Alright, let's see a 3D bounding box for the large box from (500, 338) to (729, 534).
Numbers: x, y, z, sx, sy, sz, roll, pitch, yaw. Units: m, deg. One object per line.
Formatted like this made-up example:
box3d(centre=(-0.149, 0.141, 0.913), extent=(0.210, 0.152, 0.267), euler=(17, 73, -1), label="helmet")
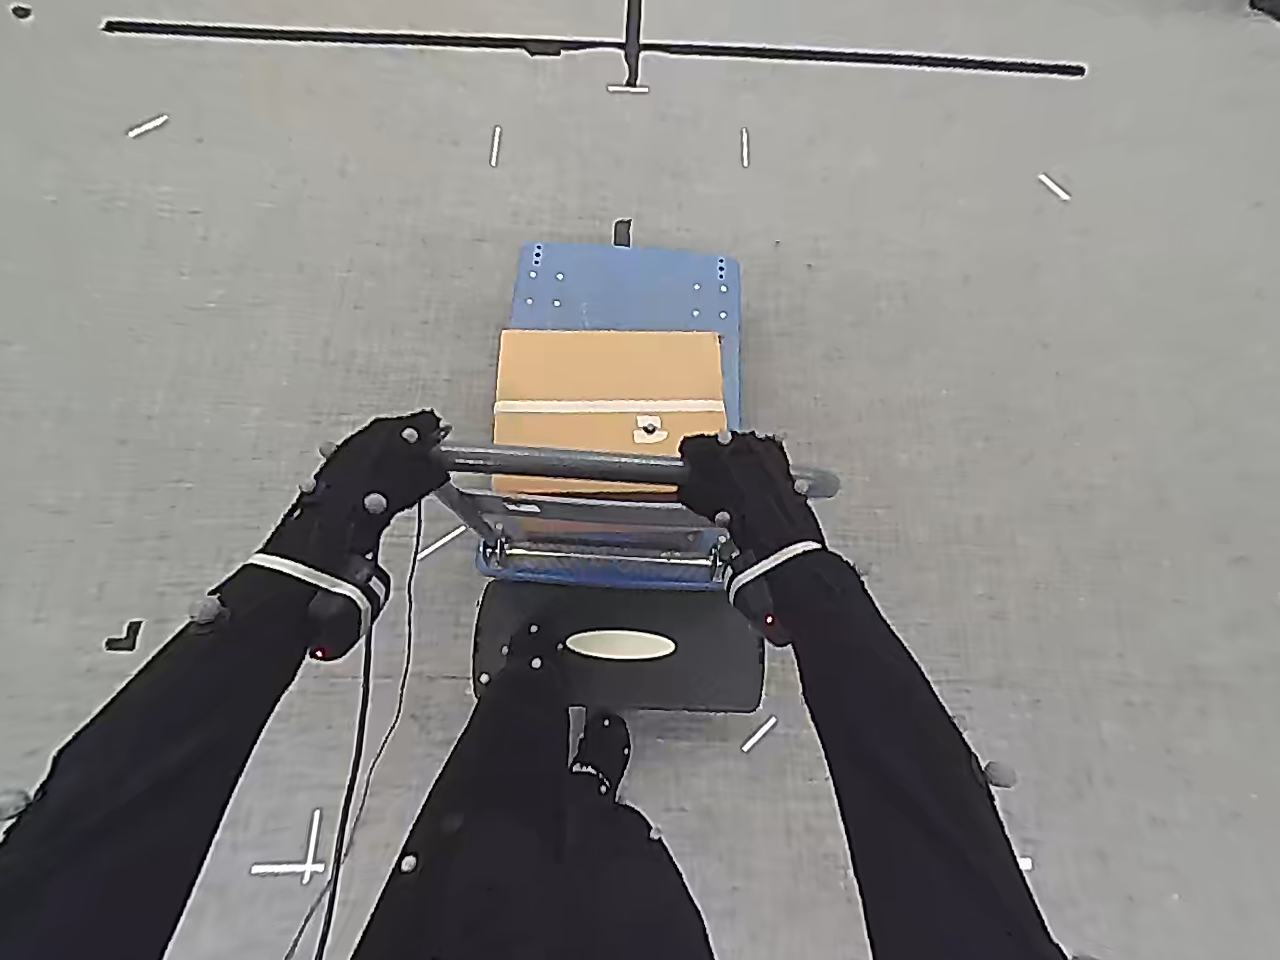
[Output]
box3d(centre=(-0.056, -0.075, 1.115), extent=(0.408, 0.320, 0.320), euler=(0, 72, -4), label="large box")
